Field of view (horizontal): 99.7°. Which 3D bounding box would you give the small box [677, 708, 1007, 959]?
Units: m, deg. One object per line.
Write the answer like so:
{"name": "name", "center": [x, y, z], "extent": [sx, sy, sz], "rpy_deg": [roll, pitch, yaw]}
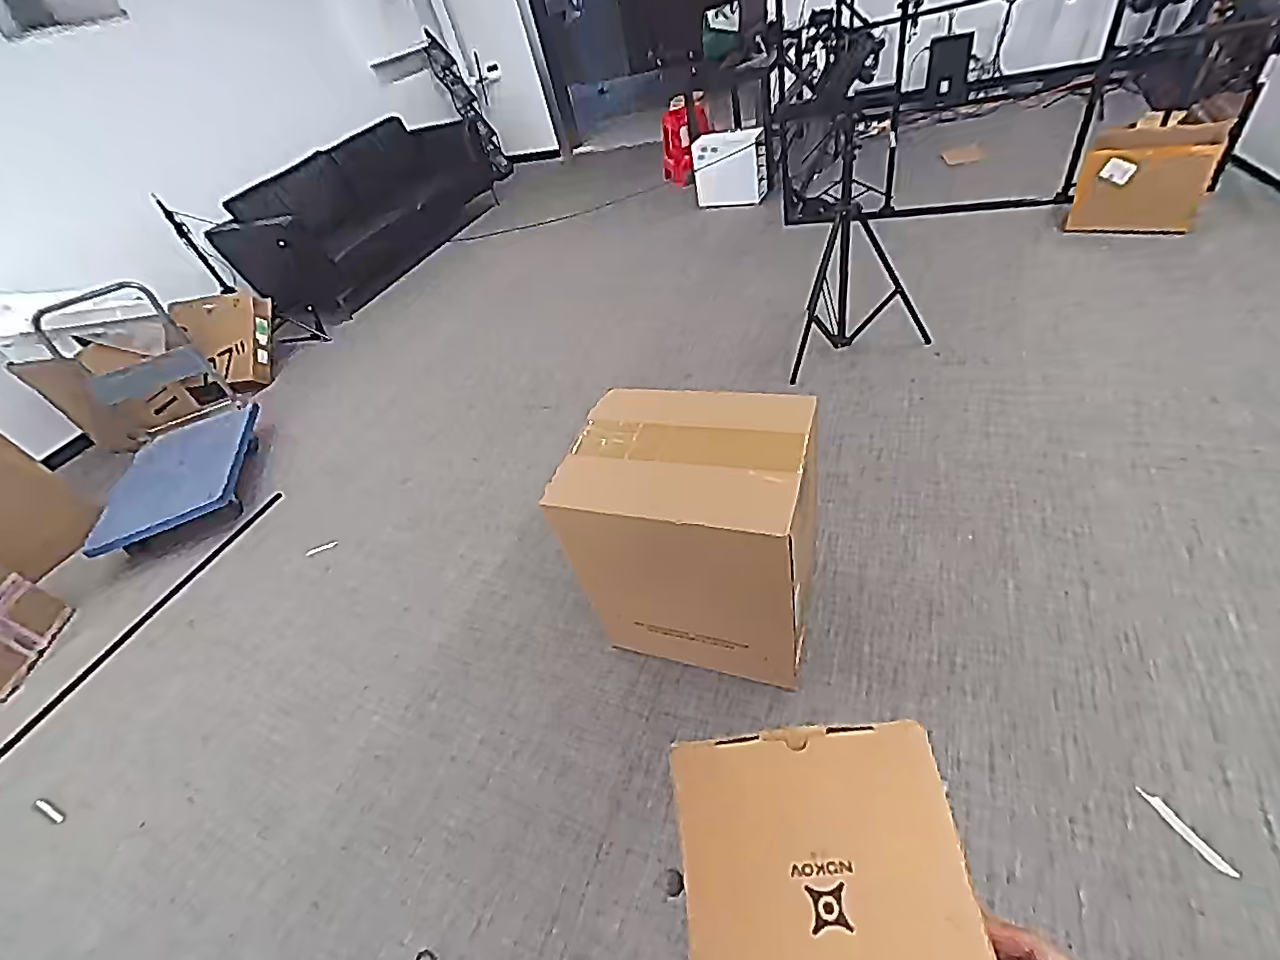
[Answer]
{"name": "small box", "center": [0.123, 0.270, 0.379], "extent": [0.168, 0.176, 0.179], "rpy_deg": [-8, 59, 4]}
